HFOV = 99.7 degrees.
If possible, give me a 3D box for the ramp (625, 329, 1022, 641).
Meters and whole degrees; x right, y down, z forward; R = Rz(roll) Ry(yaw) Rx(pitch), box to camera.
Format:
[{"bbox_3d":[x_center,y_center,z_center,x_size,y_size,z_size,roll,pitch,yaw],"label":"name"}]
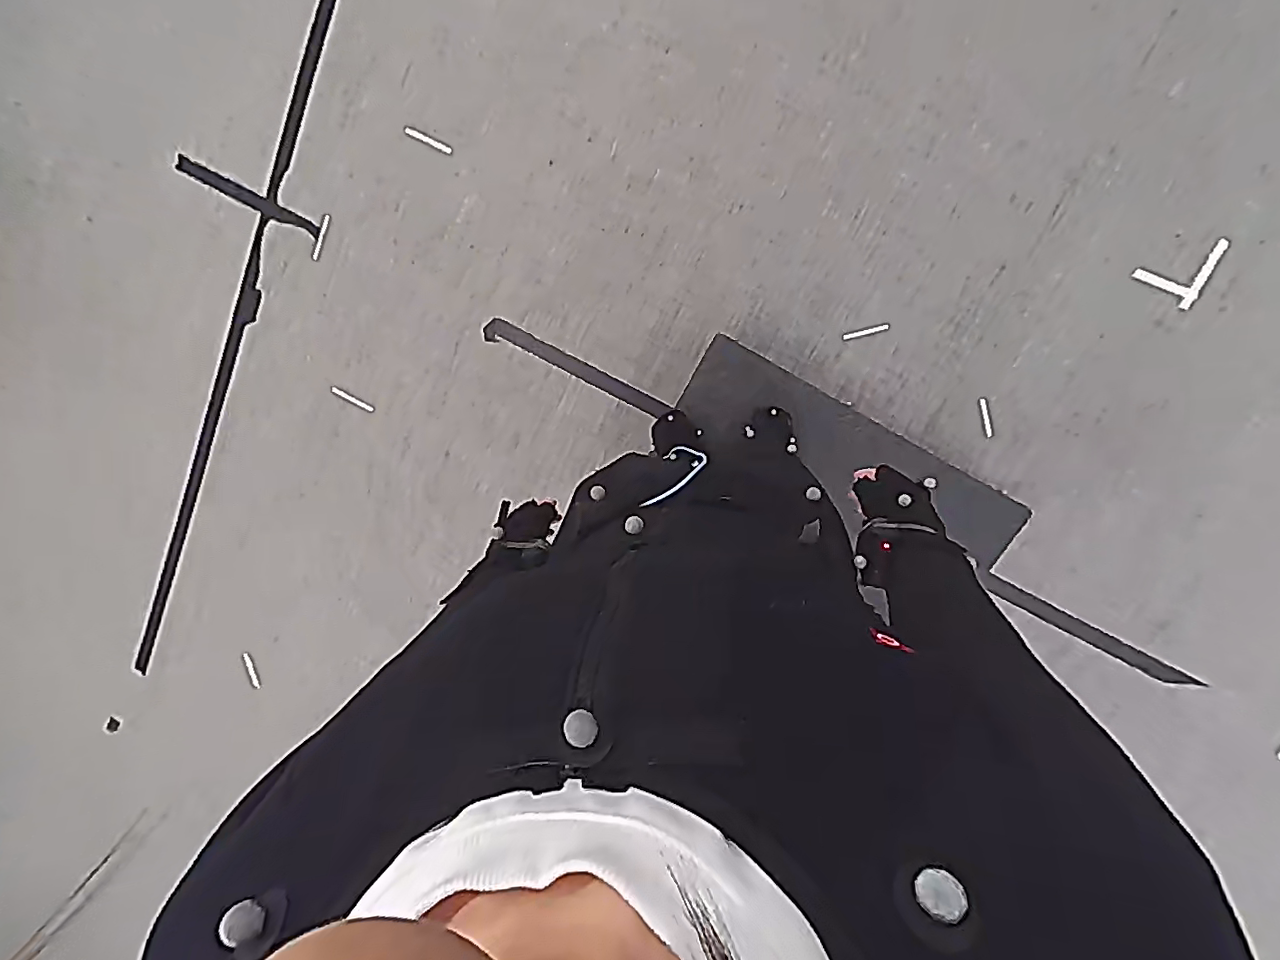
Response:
[{"bbox_3d":[0.506,0.045,1.467,0.991,0.206,0.509,28,101,2],"label":"ramp"}]
